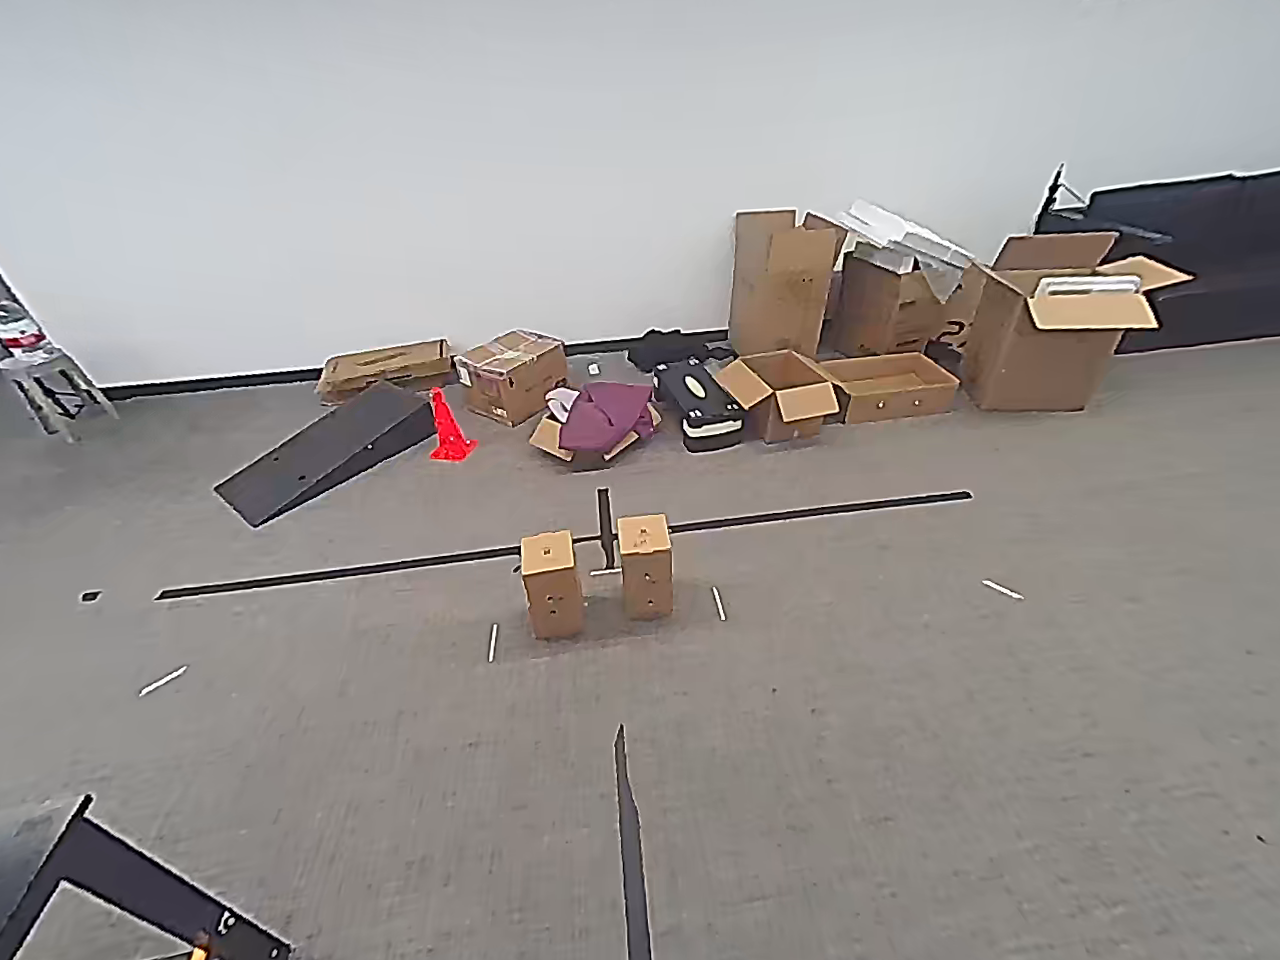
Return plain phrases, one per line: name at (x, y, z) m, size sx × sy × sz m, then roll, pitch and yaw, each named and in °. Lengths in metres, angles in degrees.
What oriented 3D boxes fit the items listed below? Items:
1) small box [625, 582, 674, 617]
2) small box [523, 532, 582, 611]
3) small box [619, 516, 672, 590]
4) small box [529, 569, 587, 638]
small box at (0.028, 0.375, 1.934) m, size 0.168 × 0.176 × 0.179 m, roll -7°, pitch 37°, yaw -4°
small box at (-0.288, 0.302, 1.784) m, size 0.168 × 0.176 × 0.179 m, roll -10°, pitch 38°, yaw -6°
small box at (0.017, 0.247, 1.829) m, size 0.168 × 0.176 × 0.179 m, roll -6°, pitch 37°, yaw -2°
small box at (-0.284, 0.431, 1.883) m, size 0.179 × 0.176 × 0.168 m, roll -7°, pitch 37°, yaw -5°
